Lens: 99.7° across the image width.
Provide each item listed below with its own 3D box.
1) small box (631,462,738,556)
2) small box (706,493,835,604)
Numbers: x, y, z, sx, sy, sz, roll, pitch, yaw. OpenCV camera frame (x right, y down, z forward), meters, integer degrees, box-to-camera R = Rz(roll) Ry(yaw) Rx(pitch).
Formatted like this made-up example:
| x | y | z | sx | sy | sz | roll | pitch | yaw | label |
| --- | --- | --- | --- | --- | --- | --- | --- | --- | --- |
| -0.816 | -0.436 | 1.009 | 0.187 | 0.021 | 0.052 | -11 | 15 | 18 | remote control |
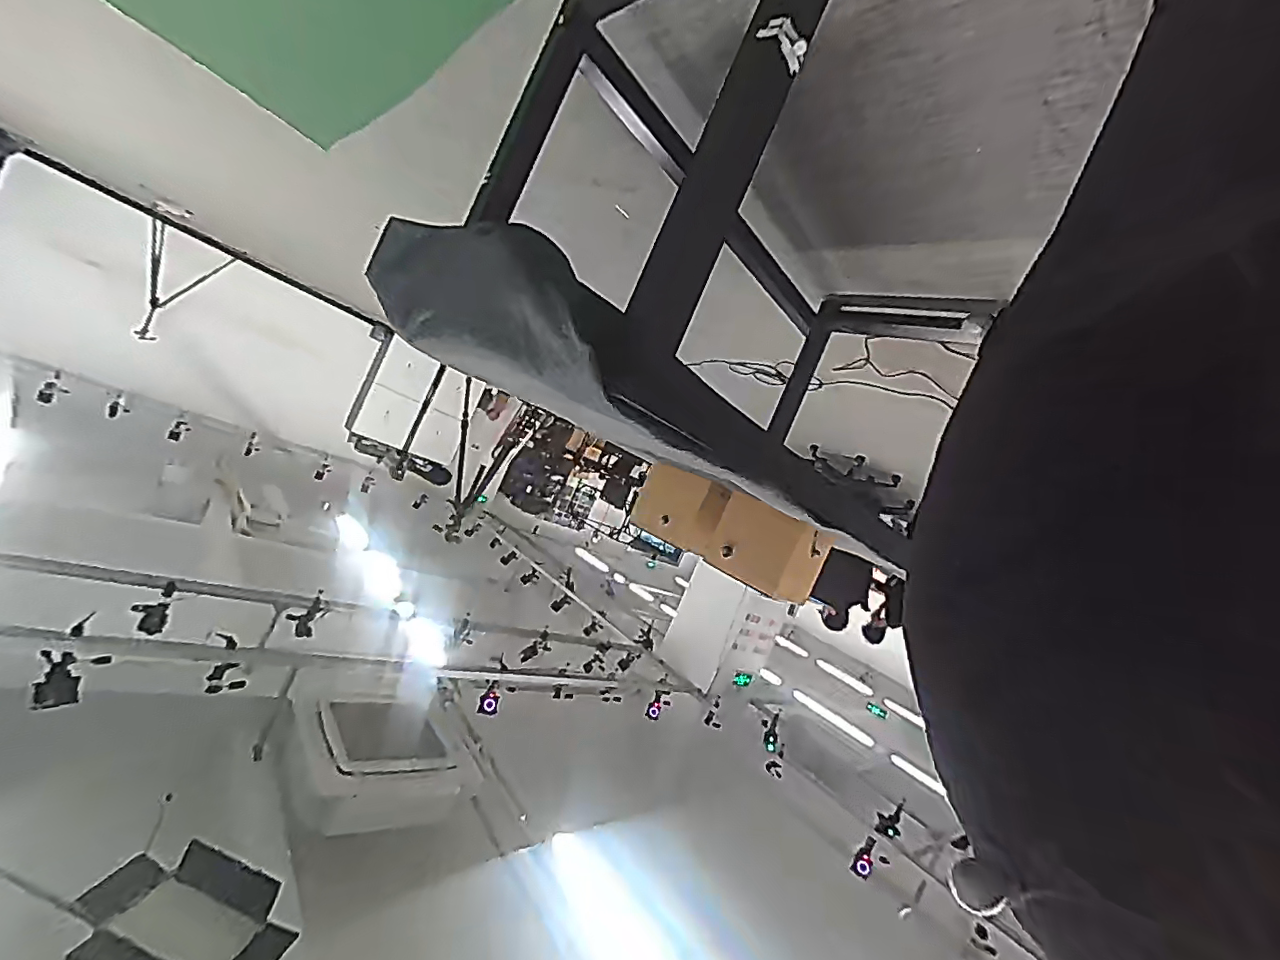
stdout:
| x | y | z | sx | sy | sz | roll | pitch | yaw | label |
| --- | --- | --- | --- | --- | --- | --- | --- | --- | --- |
| 0.114 | 0.070 | 1.276 | 0.179 | 0.176 | 0.168 | 22 | 179 | 41 | small box |
| 0.274 | 0.137 | 1.126 | 0.179 | 0.176 | 0.168 | 23 | 180 | 41 | small box |
